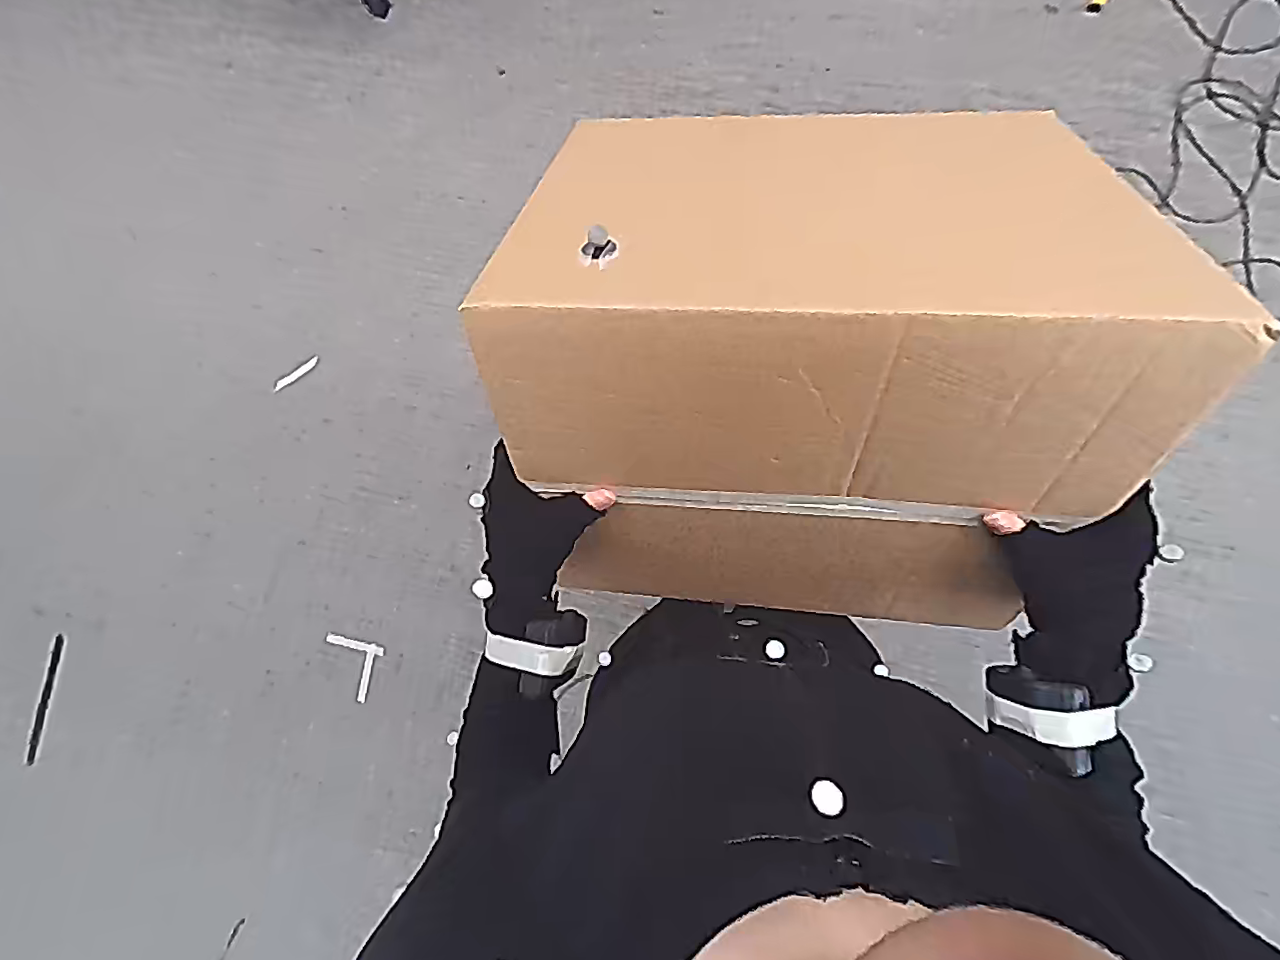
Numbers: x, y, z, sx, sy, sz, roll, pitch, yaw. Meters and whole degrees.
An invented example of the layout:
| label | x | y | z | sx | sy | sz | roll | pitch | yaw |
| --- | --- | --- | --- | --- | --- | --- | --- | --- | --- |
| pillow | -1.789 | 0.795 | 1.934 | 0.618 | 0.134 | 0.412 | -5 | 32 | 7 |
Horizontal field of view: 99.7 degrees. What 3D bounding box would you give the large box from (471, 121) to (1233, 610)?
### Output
| label | x | y | z | sx | sy | sz | roll | pitch | yaw |
| --- | --- | --- | --- | --- | --- | --- | --- | --- | --- |
| large box | 0.122 | -0.104 | 0.498 | 0.408 | 0.320 | 0.320 | 3 | 50 | 7 |
